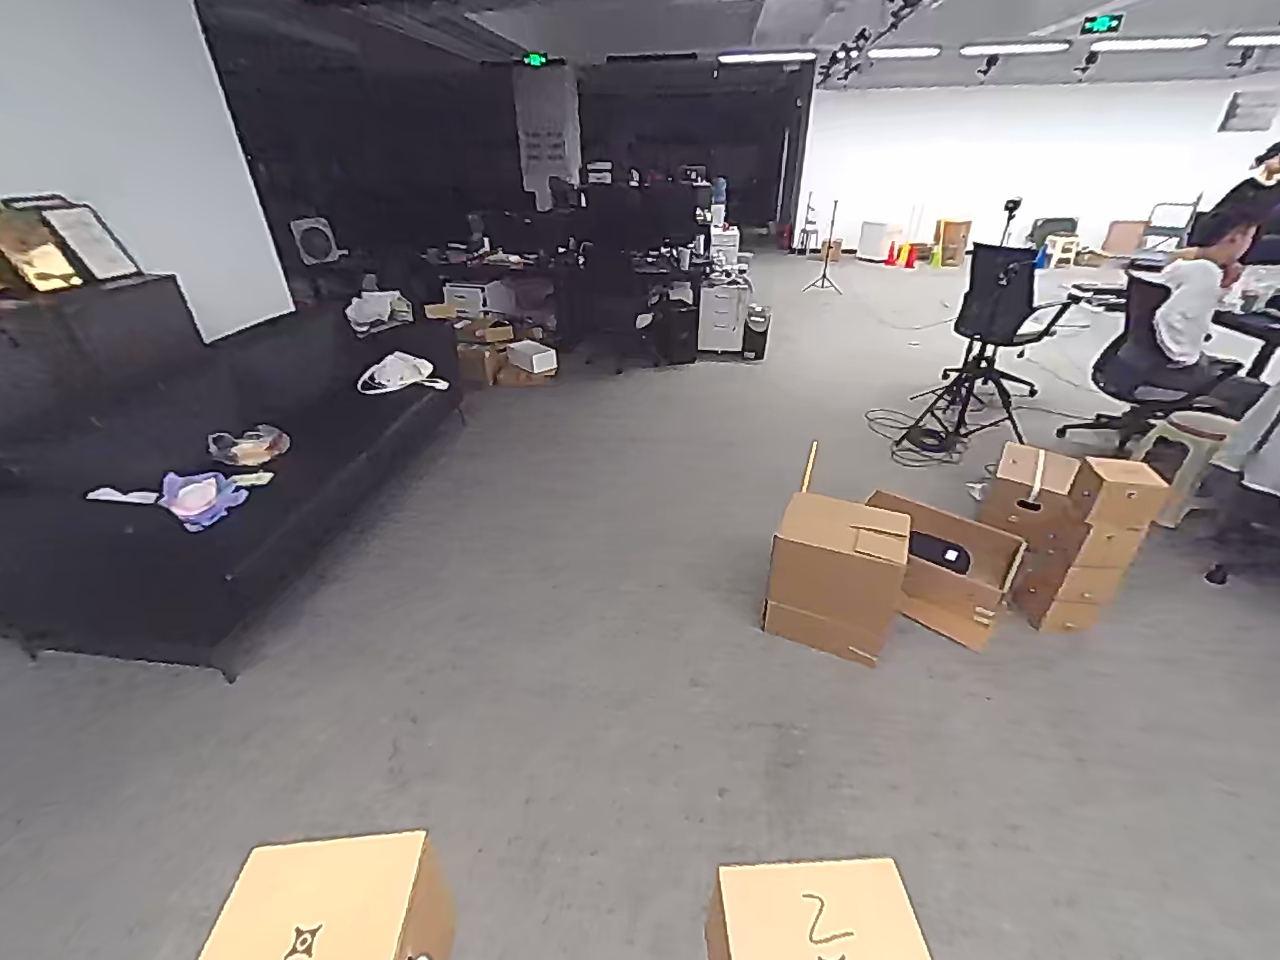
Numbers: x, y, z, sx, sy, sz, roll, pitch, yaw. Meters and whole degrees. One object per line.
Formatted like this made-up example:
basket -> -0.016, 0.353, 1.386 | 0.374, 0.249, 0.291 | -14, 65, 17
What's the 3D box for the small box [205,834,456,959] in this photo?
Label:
small box -> -0.276, 0.461, 0.490 | 0.168, 0.176, 0.179 | -2, 30, -3
